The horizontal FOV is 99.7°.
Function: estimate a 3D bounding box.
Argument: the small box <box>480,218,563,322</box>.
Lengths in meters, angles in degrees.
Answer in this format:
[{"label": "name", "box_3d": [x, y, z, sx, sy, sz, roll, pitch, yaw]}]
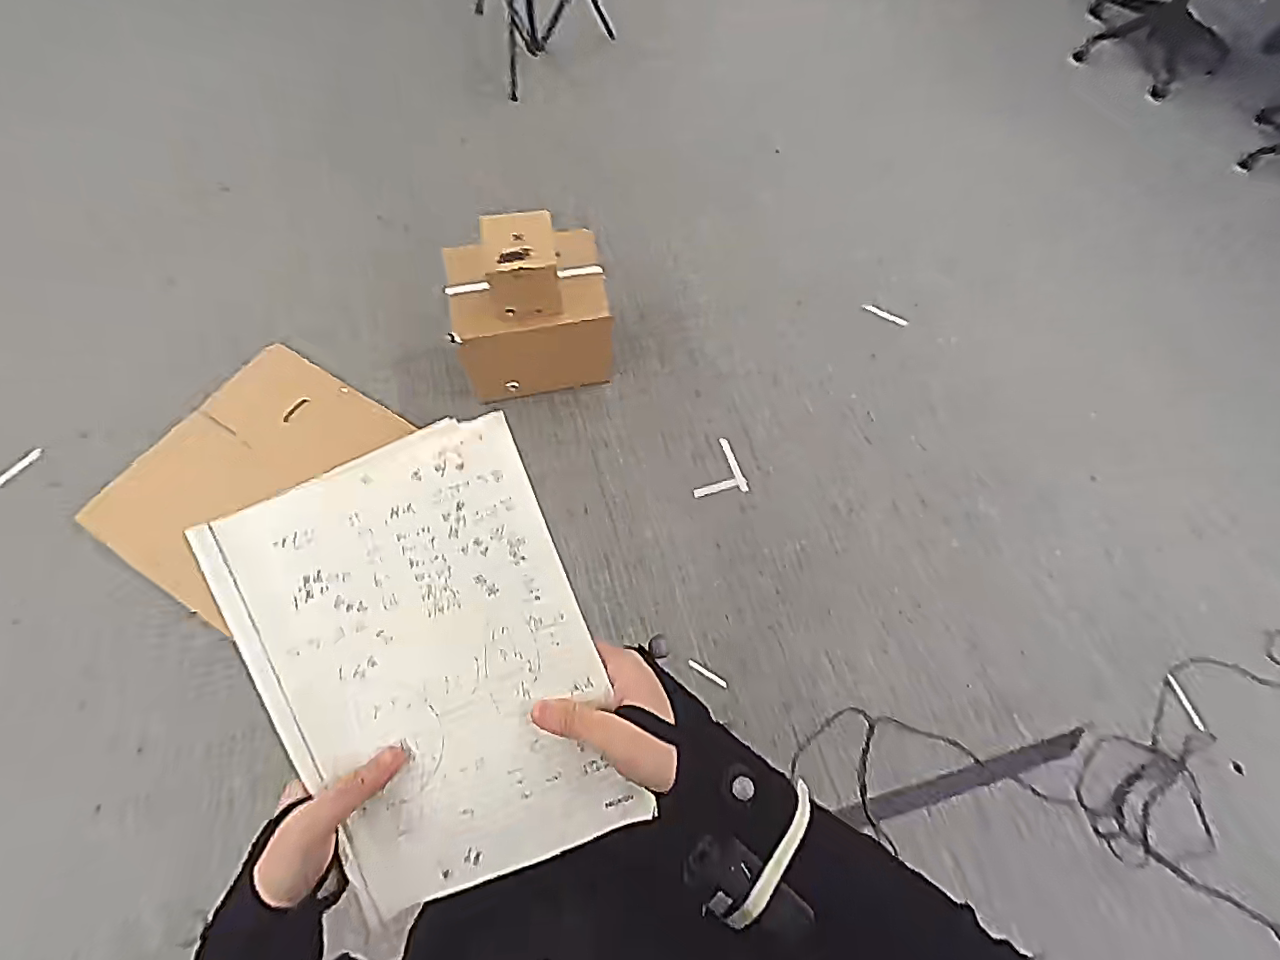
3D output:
[{"label": "small box", "box_3d": [-0.286, -0.507, 1.329, 0.168, 0.176, 0.179, -9, 68, -6]}]
